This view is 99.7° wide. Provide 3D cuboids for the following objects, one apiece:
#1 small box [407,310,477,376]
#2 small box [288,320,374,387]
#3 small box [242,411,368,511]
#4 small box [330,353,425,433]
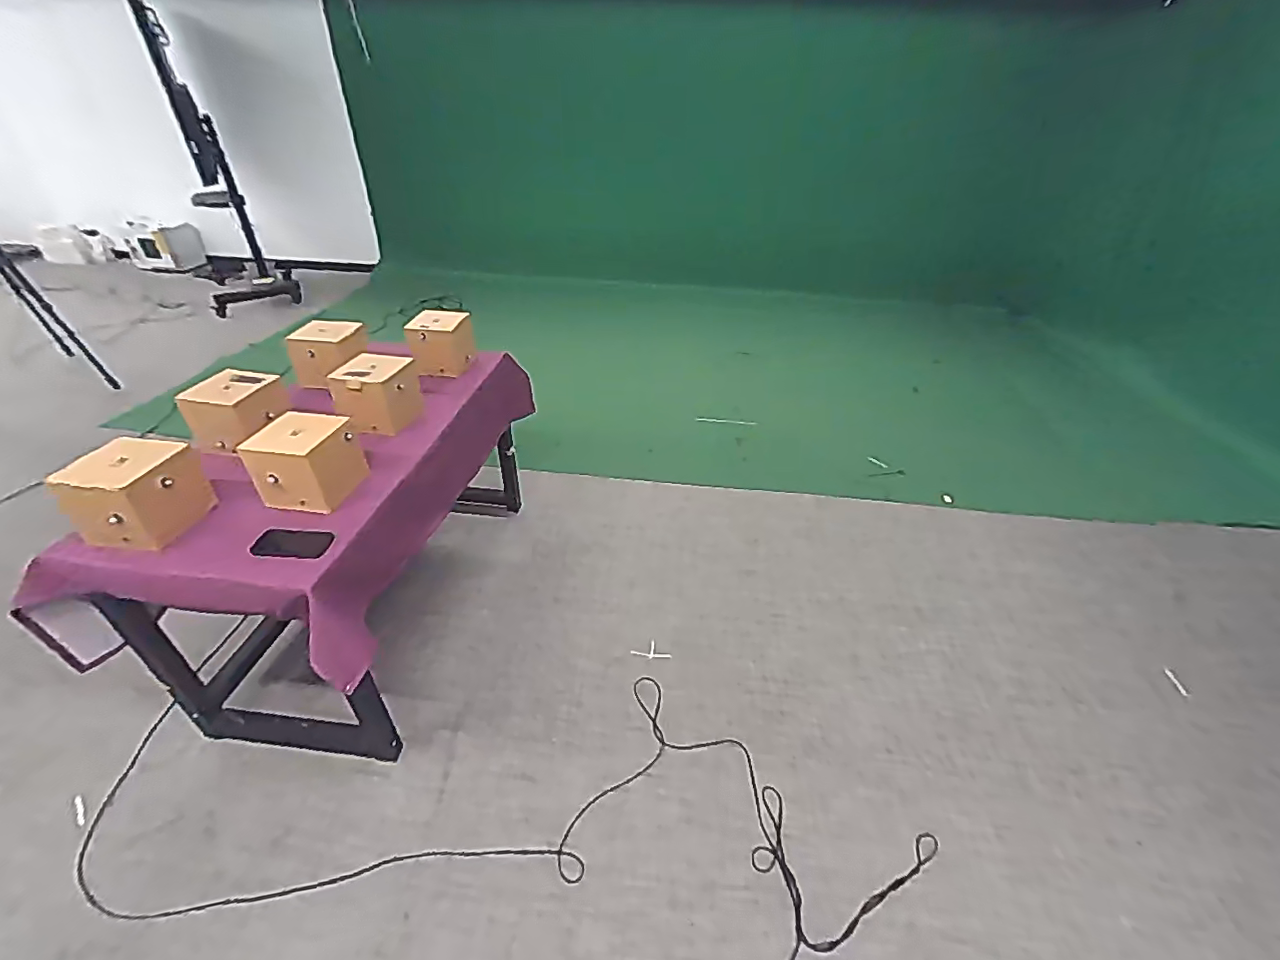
[{"bbox_3d":[-0.678,-0.476,1.879,0.168,0.176,0.179,5,36,5],"label":"small box"},{"bbox_3d":[-1.002,-0.413,1.777,0.179,0.176,0.168,4,37,3],"label":"small box"},{"bbox_3d":[-0.779,-0.044,1.284,0.168,0.176,0.179,6,35,6],"label":"small box"},{"bbox_3d":[-0.749,-0.251,1.568,0.168,0.176,0.179,7,35,8],"label":"small box"}]
